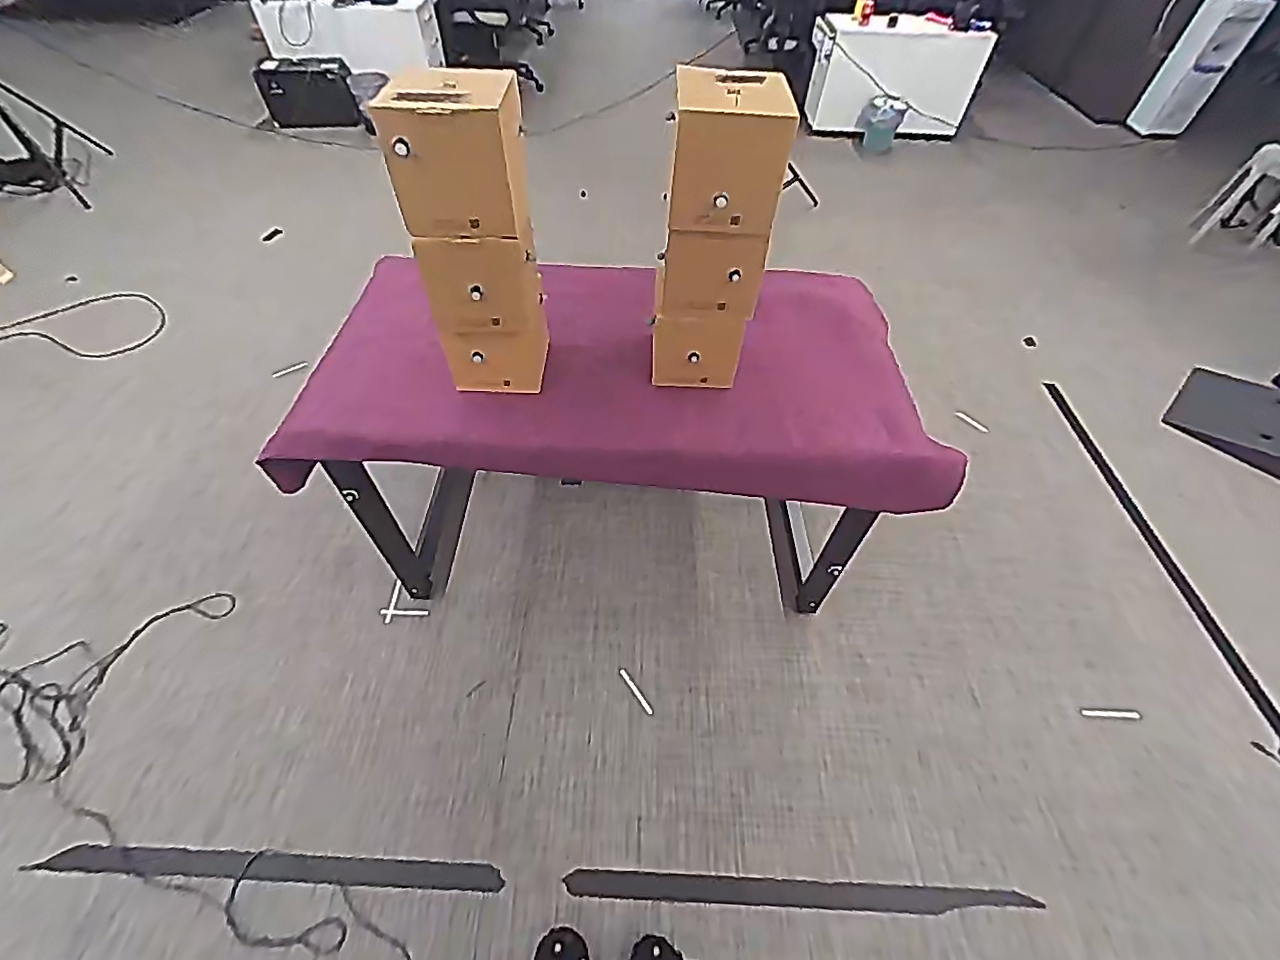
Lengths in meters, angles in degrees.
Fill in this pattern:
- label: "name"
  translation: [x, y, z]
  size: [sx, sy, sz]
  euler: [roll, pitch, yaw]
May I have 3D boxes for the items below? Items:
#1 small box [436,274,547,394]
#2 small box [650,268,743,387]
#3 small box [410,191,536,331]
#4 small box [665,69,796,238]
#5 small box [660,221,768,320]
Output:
- label: "small box"
  translation: [-0.281, -0.287, 1.070]
  size: [0.168, 0.176, 0.179]
  euler: [1, 52, -1]
- label: "small box"
  translation: [0.109, -0.306, 1.097]
  size: [0.168, 0.176, 0.179]
  euler: [2, 52, -1]
- label: "small box"
  translation: [-0.272, -0.371, 0.928]
  size: [0.168, 0.176, 0.179]
  euler: [-2, 52, -4]
- label: "small box"
  translation: [0.127, -0.502, 0.837]
  size: [0.168, 0.176, 0.179]
  euler: [2, 53, -1]
- label: "small box"
  translation: [0.125, -0.408, 0.972]
  size: [0.168, 0.176, 0.179]
  euler: [4, 51, -1]
